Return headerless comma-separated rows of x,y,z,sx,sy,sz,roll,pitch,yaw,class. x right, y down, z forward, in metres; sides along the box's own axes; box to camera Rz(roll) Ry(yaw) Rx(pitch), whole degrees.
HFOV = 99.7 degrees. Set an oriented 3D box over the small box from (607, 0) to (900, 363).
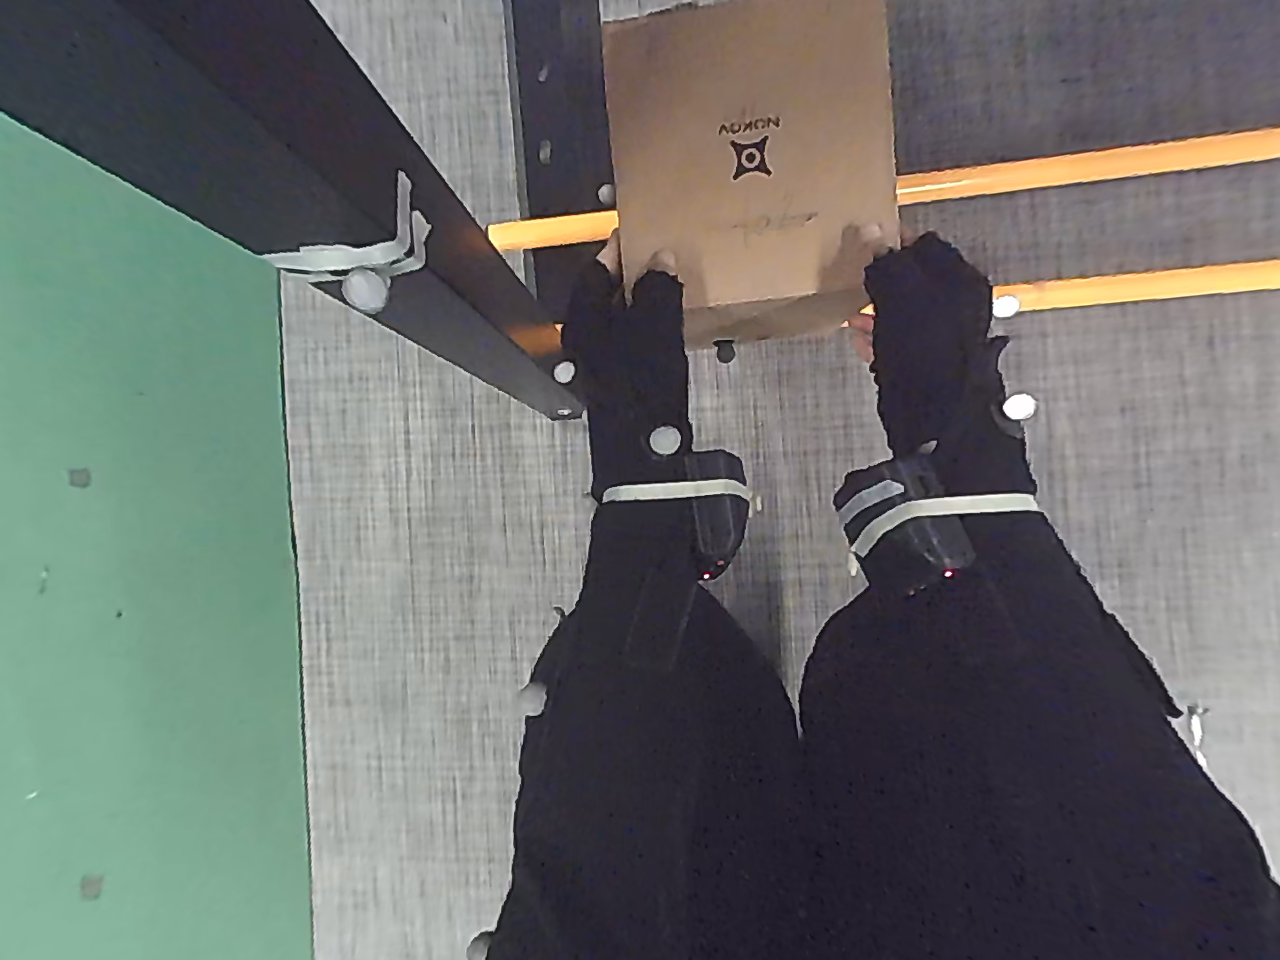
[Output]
0.075,-0.194,0.406,0.168,0.176,0.179,-6,95,7,small box
